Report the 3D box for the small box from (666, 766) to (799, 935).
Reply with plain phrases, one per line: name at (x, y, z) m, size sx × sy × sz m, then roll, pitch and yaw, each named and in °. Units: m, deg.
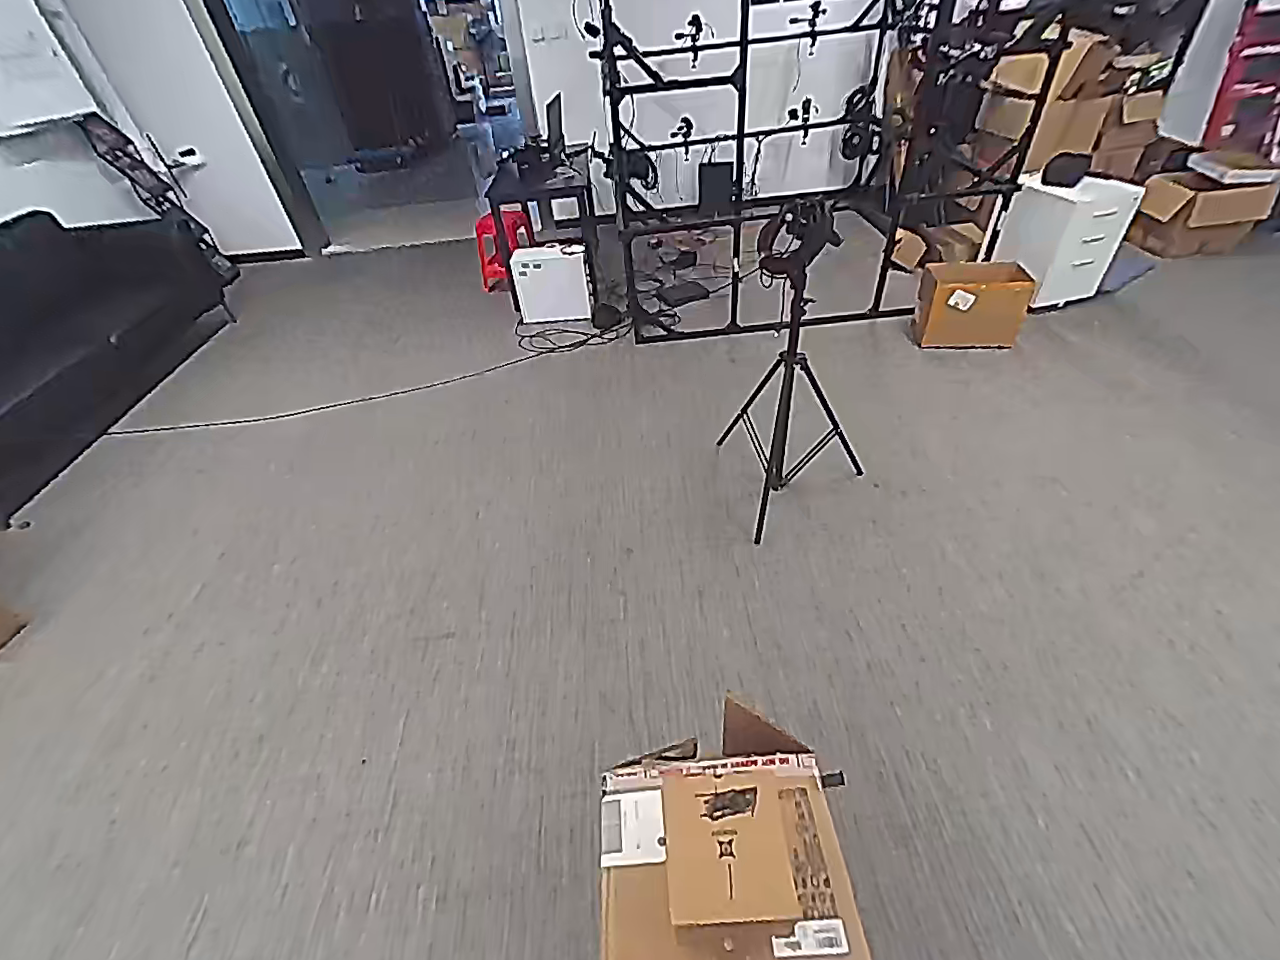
small box at (0.125, 0.548, 0.801) m, size 0.168 × 0.176 × 0.179 m, roll -5°, pitch 45°, yaw 2°
